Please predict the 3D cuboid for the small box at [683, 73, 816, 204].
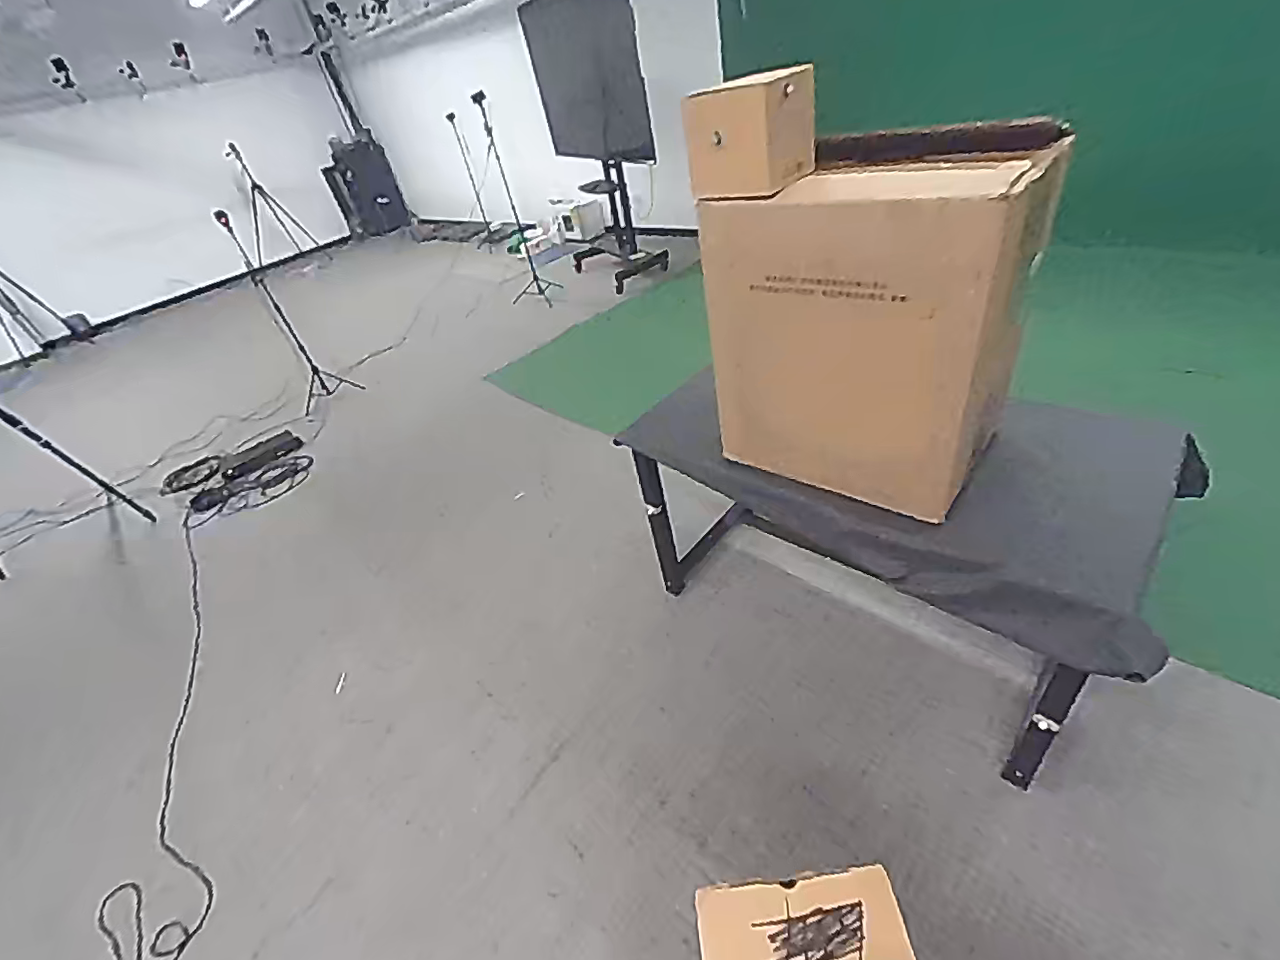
[{"bbox_3d":[0.205,-0.620,0.995,0.179,0.176,0.168,21,50,38],"label":"small box"}]
